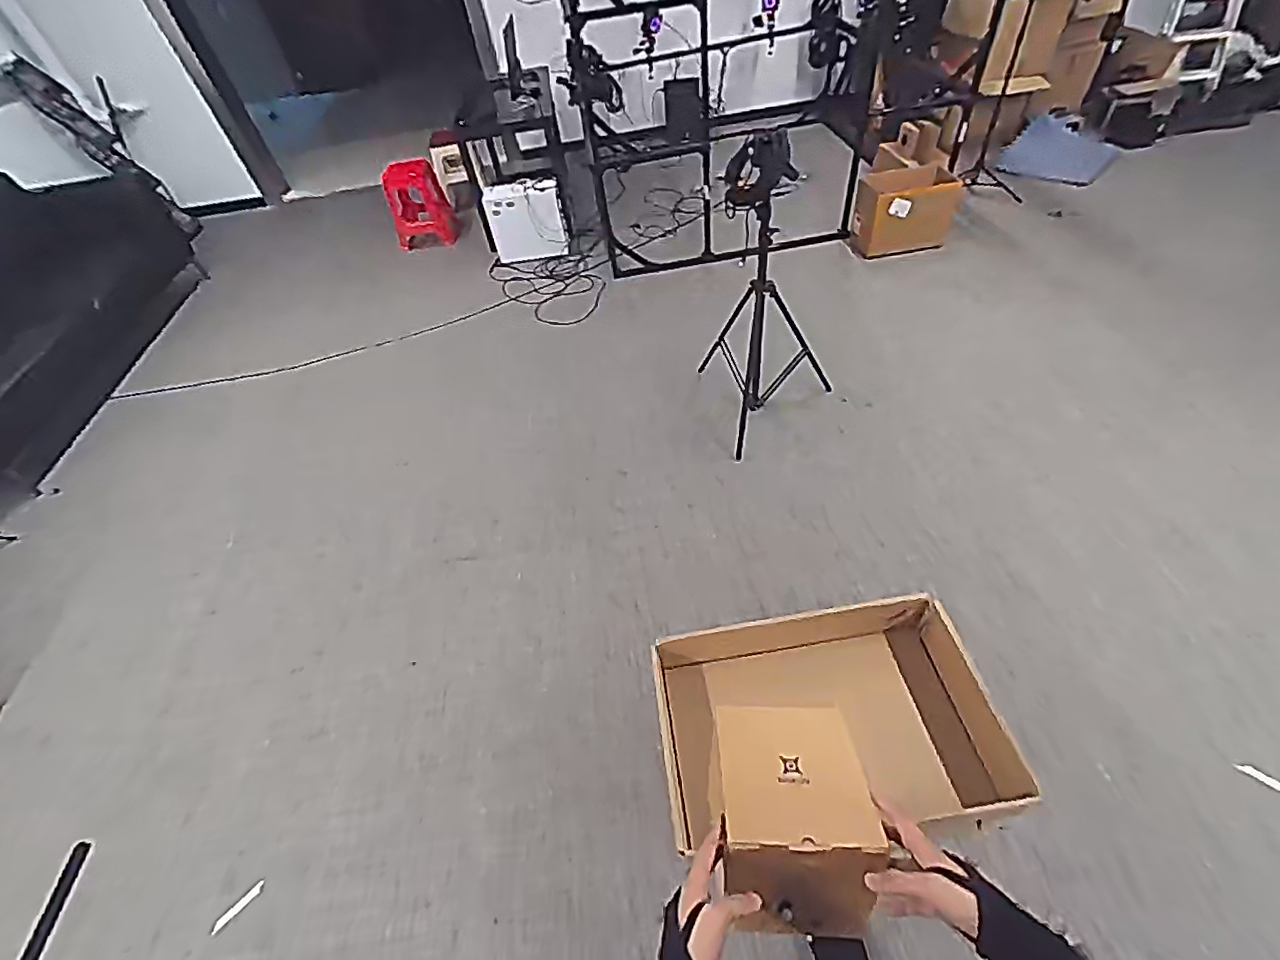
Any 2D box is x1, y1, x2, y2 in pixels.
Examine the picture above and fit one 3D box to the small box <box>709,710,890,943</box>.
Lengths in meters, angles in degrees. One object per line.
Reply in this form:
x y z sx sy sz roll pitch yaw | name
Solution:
0.174 0.409 0.654 0.168 0.176 0.179 0 27 2 | small box
